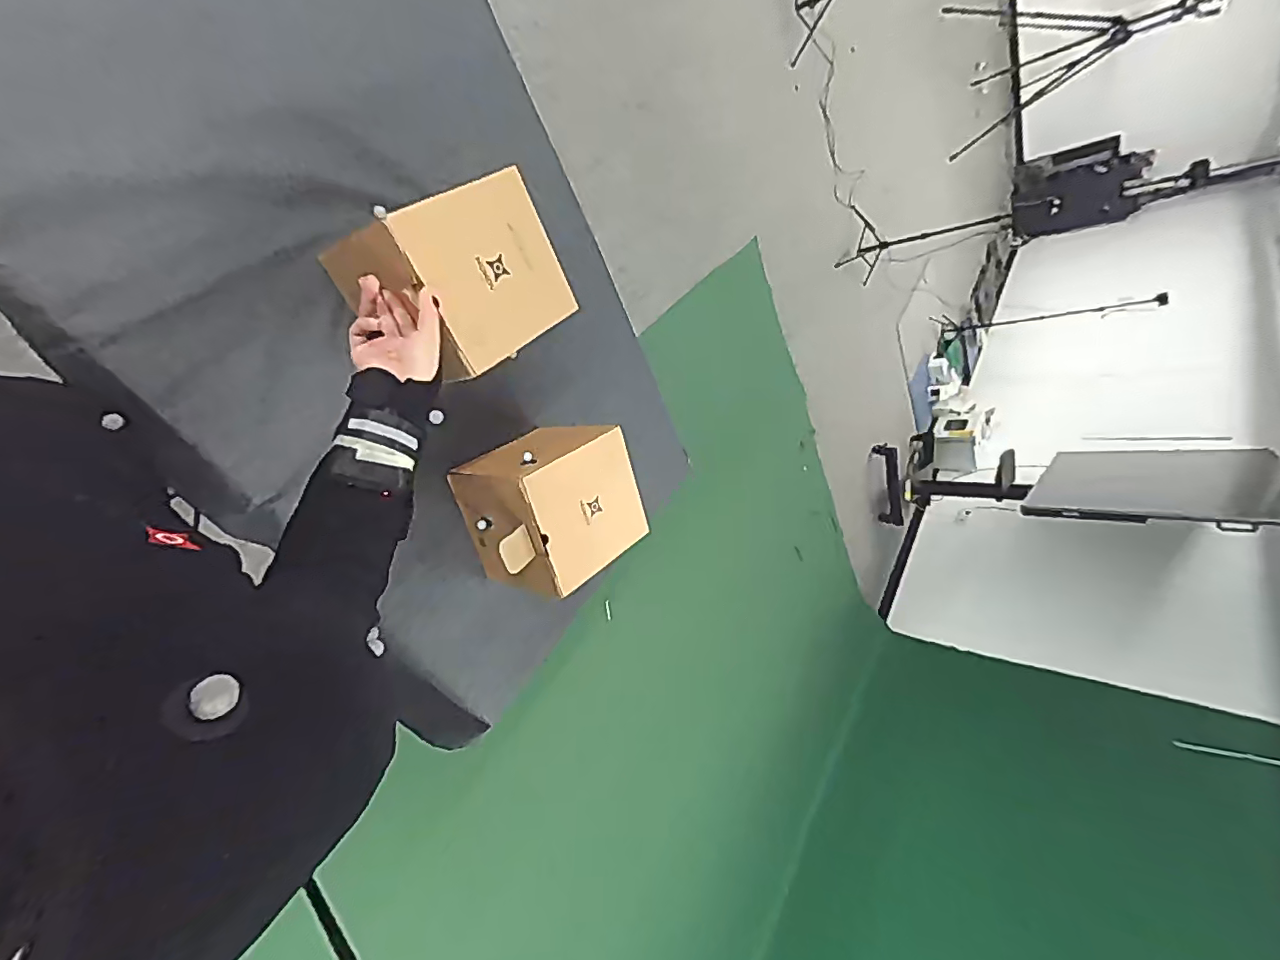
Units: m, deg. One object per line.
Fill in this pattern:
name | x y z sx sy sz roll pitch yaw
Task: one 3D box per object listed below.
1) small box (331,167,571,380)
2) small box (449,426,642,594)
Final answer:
small box | -0.220 -0.227 0.623 0.179 0.176 0.168 -49 128 -36
small box | -0.127 0.028 0.750 0.179 0.176 0.168 -35 118 -41
